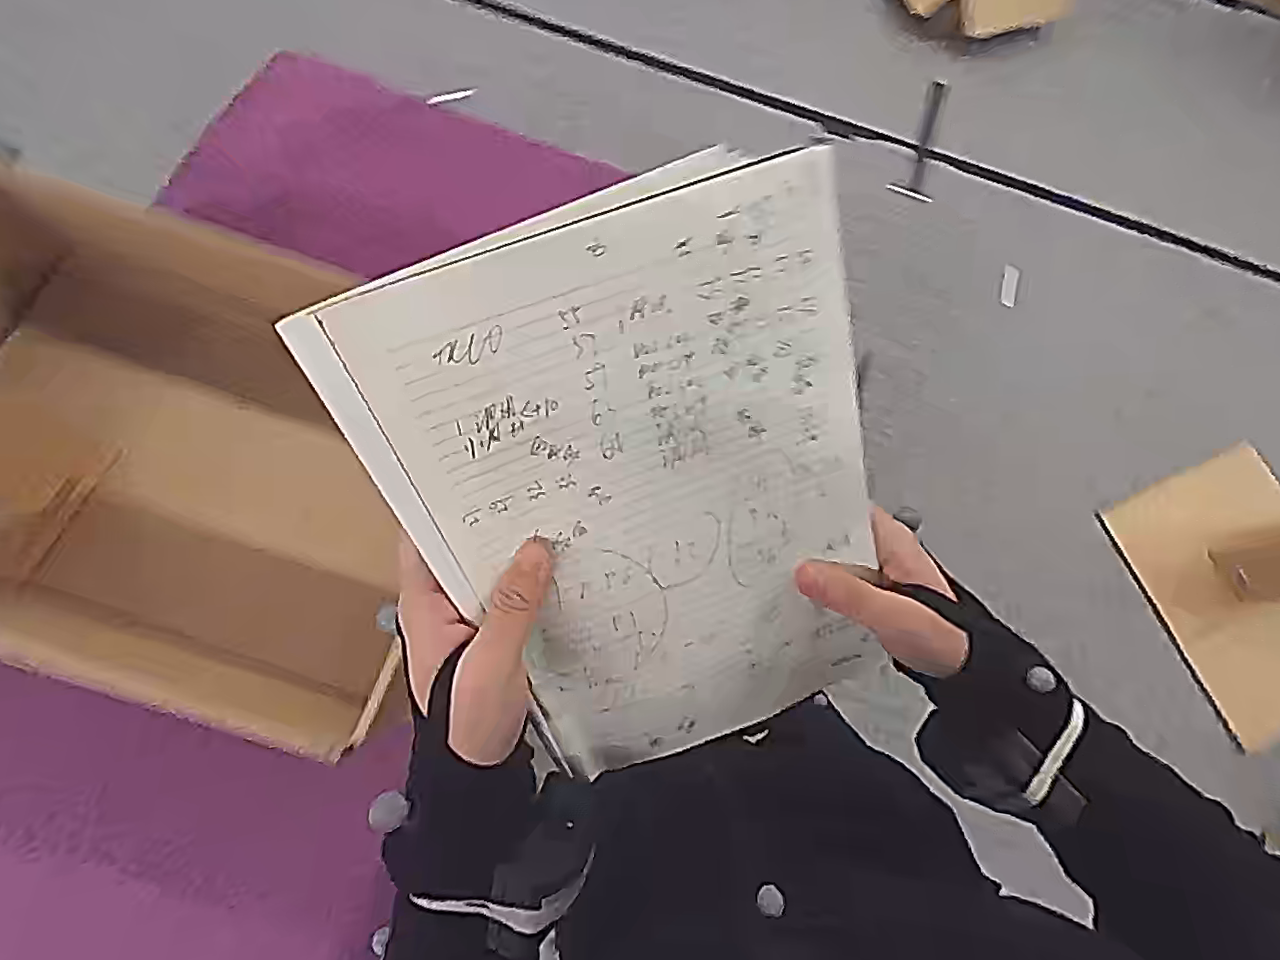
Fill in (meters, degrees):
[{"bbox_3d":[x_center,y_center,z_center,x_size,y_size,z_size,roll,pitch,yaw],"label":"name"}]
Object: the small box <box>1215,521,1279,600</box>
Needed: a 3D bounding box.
[{"bbox_3d":[1.740,0.212,1.459,0.179,0.176,0.168,-26,79,-10],"label":"small box"}]
